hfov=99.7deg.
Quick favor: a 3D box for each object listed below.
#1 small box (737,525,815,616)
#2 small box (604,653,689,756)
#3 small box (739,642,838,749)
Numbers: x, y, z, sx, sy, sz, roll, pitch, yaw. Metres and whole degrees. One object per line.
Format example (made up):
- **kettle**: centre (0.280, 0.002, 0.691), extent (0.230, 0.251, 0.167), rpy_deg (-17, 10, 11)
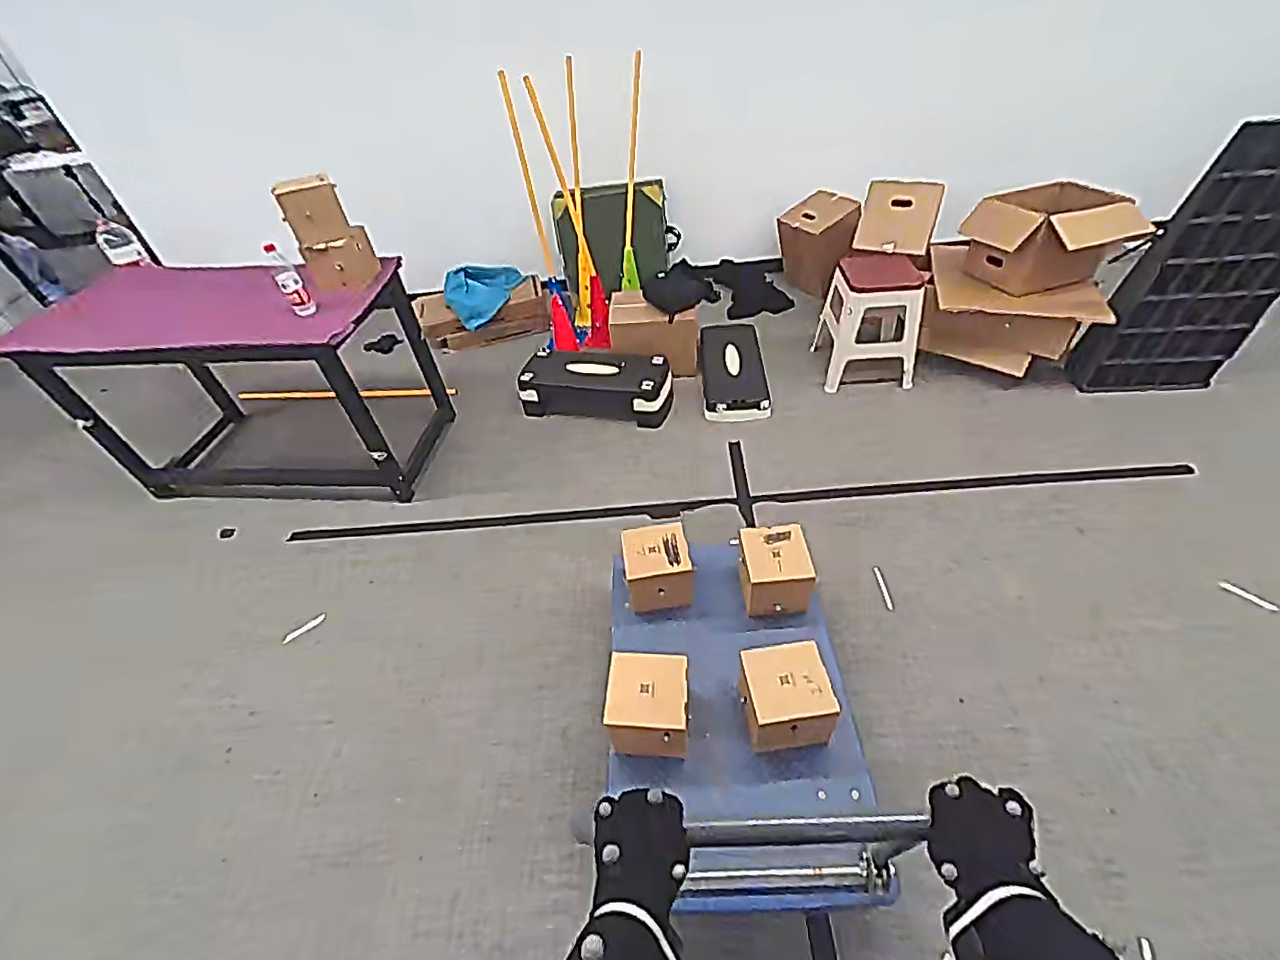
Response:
- **small box**: centre (0.361, 0.247, 1.470), extent (0.168, 0.176, 0.179), rpy_deg (-6, 46, 2)
- **small box**: centre (0.021, 0.517, 1.243), extent (0.179, 0.176, 0.168), rpy_deg (1, 45, 6)
- **small box**: centre (0.327, 0.493, 1.229), extent (0.179, 0.176, 0.168), rpy_deg (-8, 45, -1)
